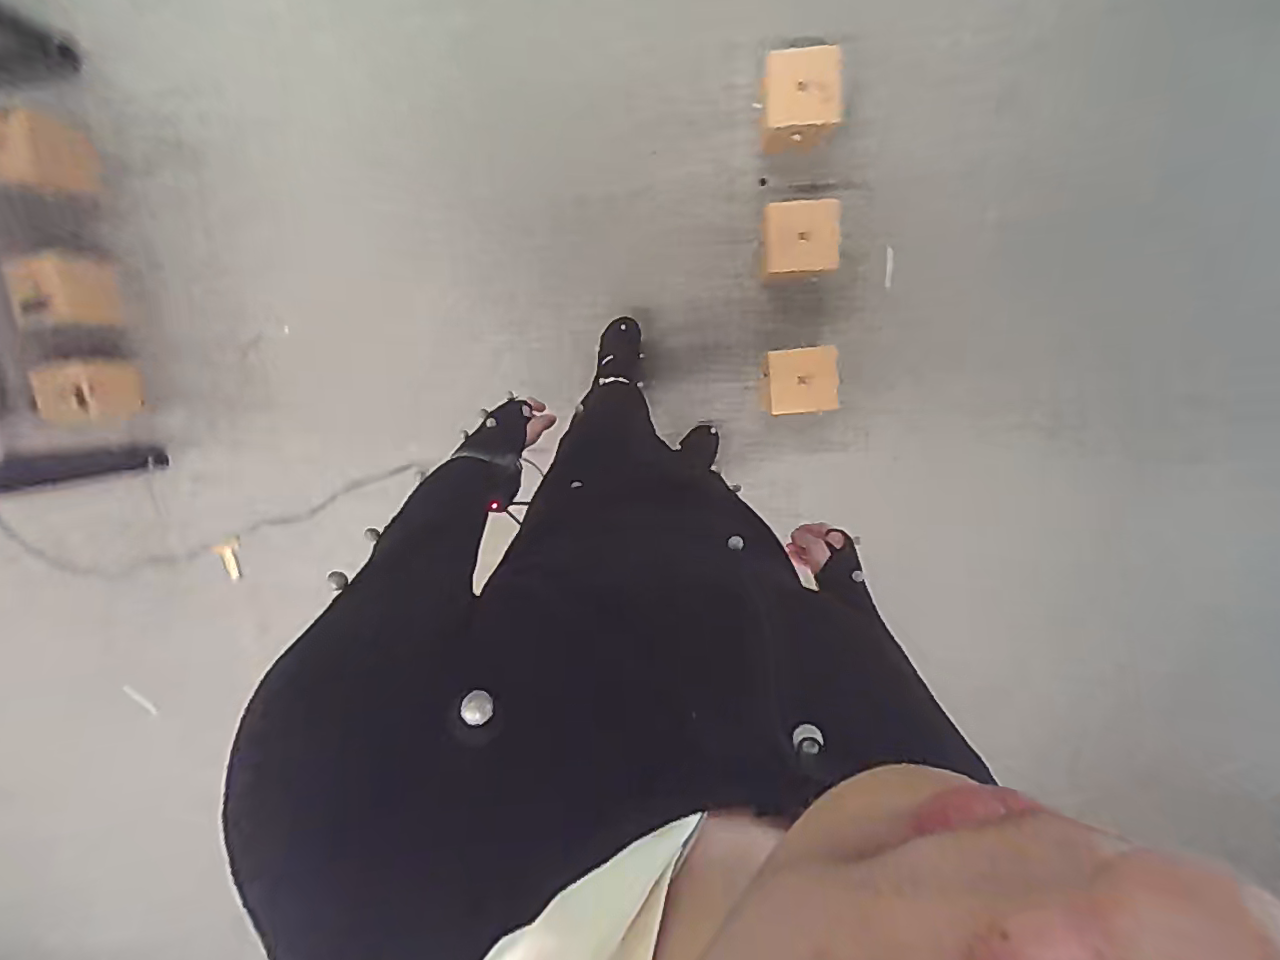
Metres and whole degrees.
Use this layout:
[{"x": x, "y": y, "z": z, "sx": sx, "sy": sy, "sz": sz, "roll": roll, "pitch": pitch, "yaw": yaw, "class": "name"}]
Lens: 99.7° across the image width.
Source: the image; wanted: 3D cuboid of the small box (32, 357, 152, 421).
[{"x": -1.590, "y": -0.269, "z": 1.586, "sx": 0.179, "sy": 0.176, "sz": 0.168, "roll": -6, "pitch": 100, "yaw": 5, "class": "small box"}]

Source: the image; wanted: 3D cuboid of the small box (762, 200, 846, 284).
[{"x": 0.419, "y": -0.610, "z": 1.400, "sx": 0.179, "sy": 0.176, "sz": 0.168, "roll": -1, "pitch": 100, "yaw": 4, "class": "small box"}]

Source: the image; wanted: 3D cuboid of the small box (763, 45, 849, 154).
[{"x": 0.403, "y": -0.932, "z": 1.340, "sx": 0.179, "sy": 0.176, "sz": 0.168, "roll": -2, "pitch": 101, "yaw": 4, "class": "small box"}]

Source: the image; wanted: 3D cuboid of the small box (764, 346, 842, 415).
[{"x": 0.434, "y": -0.266, "z": 1.463, "sx": 0.179, "sy": 0.176, "sz": 0.168, "roll": -5, "pitch": 100, "yaw": 4, "class": "small box"}]
